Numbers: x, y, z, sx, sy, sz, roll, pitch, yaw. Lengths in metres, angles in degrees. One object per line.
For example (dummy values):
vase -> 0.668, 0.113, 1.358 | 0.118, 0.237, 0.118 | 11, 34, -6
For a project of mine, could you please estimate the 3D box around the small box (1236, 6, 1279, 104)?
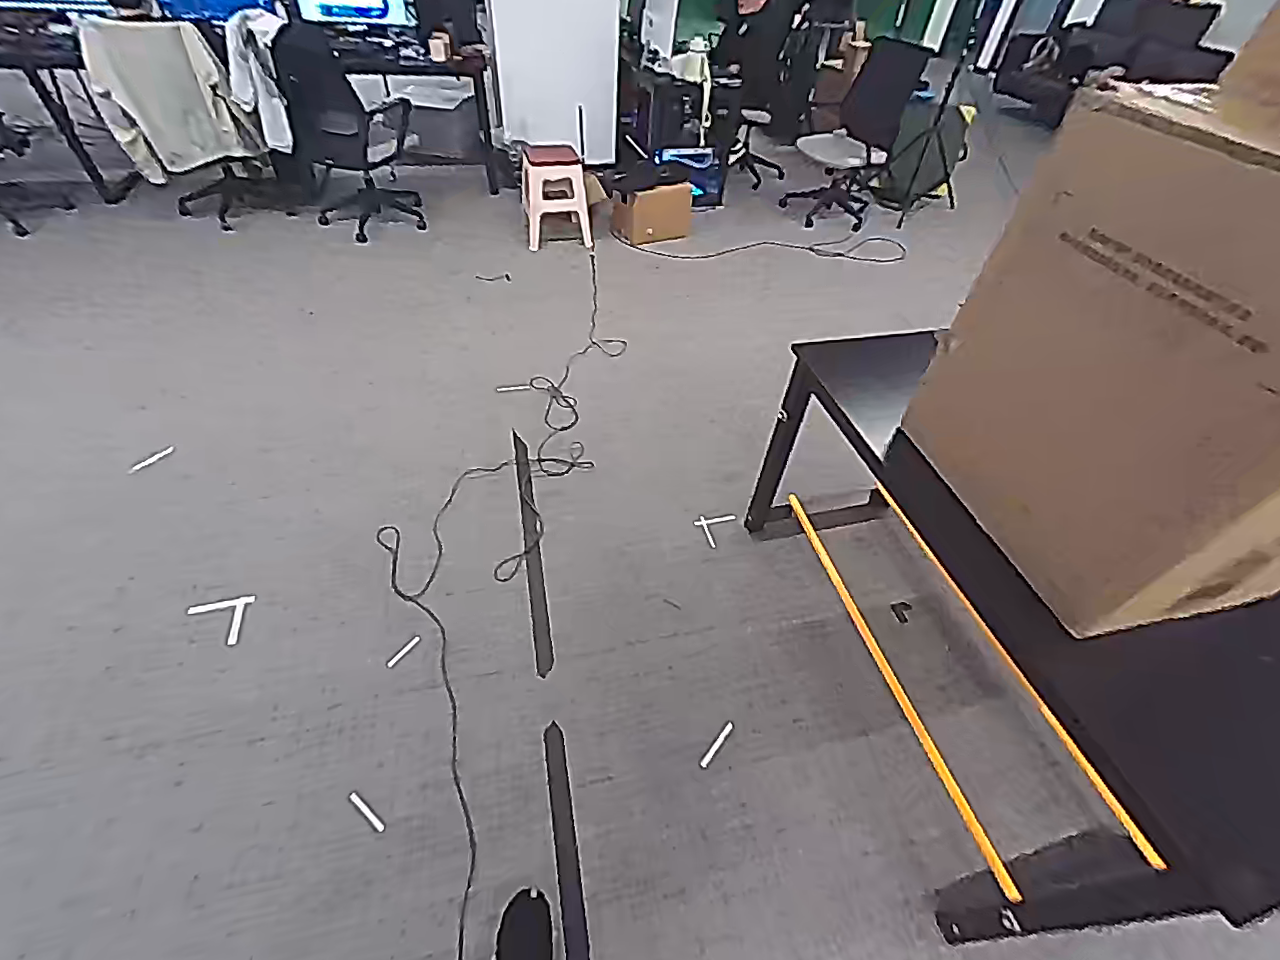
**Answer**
small box -> 0.917, -0.558, 0.663 | 0.179, 0.176, 0.168 | -8, 50, -12
